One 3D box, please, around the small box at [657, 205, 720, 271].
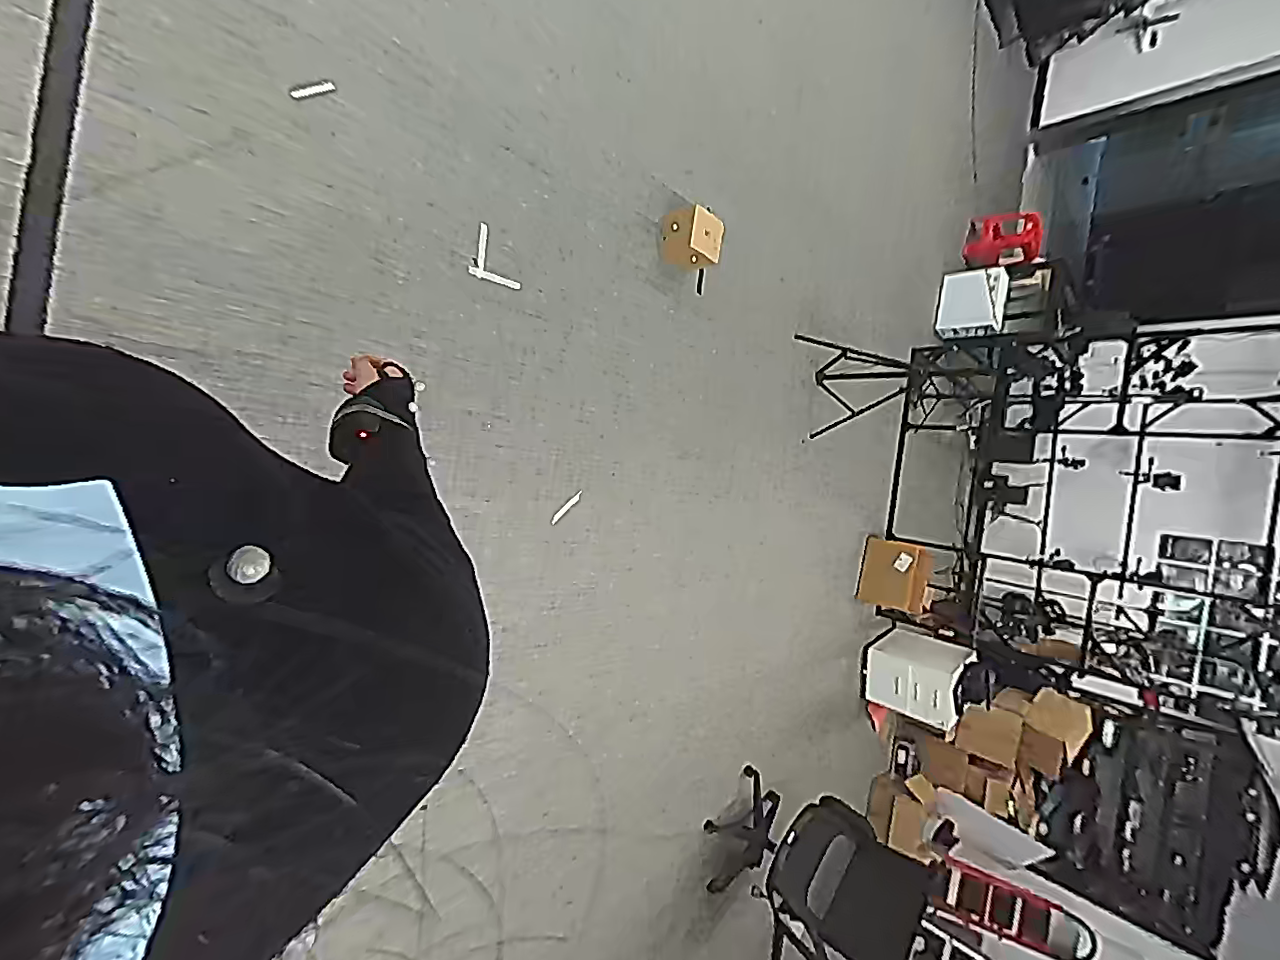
[{"bbox_3d":[0.187,-0.939,2.119,0.179,0.176,0.168,11,89,-46],"label":"small box"}]
